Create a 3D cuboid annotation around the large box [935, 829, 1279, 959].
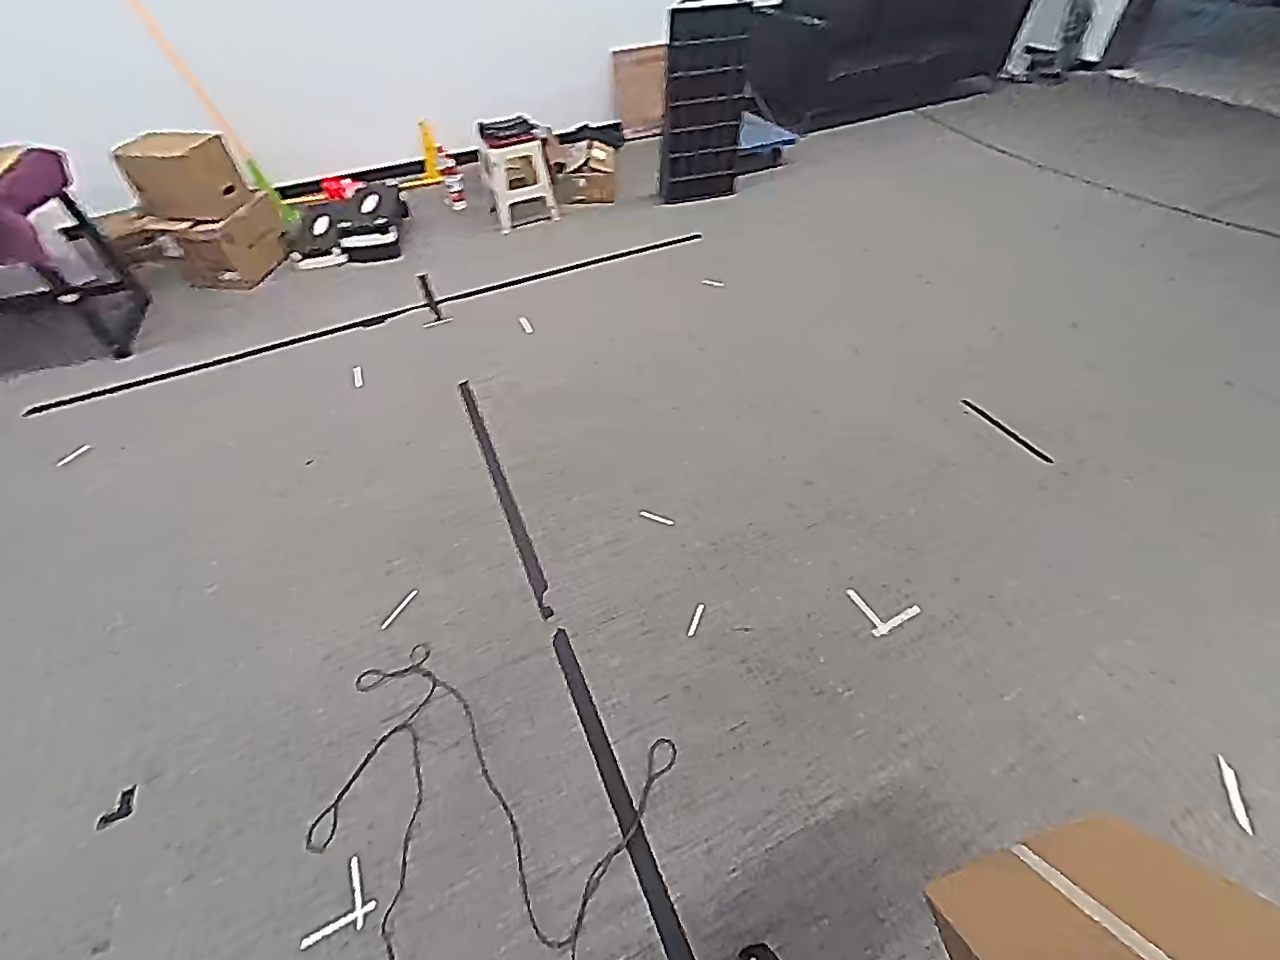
[{"bbox_3d":[0.625,0.686,0.595,0.320,0.408,0.320,-19,83,-2],"label":"large box"}]
